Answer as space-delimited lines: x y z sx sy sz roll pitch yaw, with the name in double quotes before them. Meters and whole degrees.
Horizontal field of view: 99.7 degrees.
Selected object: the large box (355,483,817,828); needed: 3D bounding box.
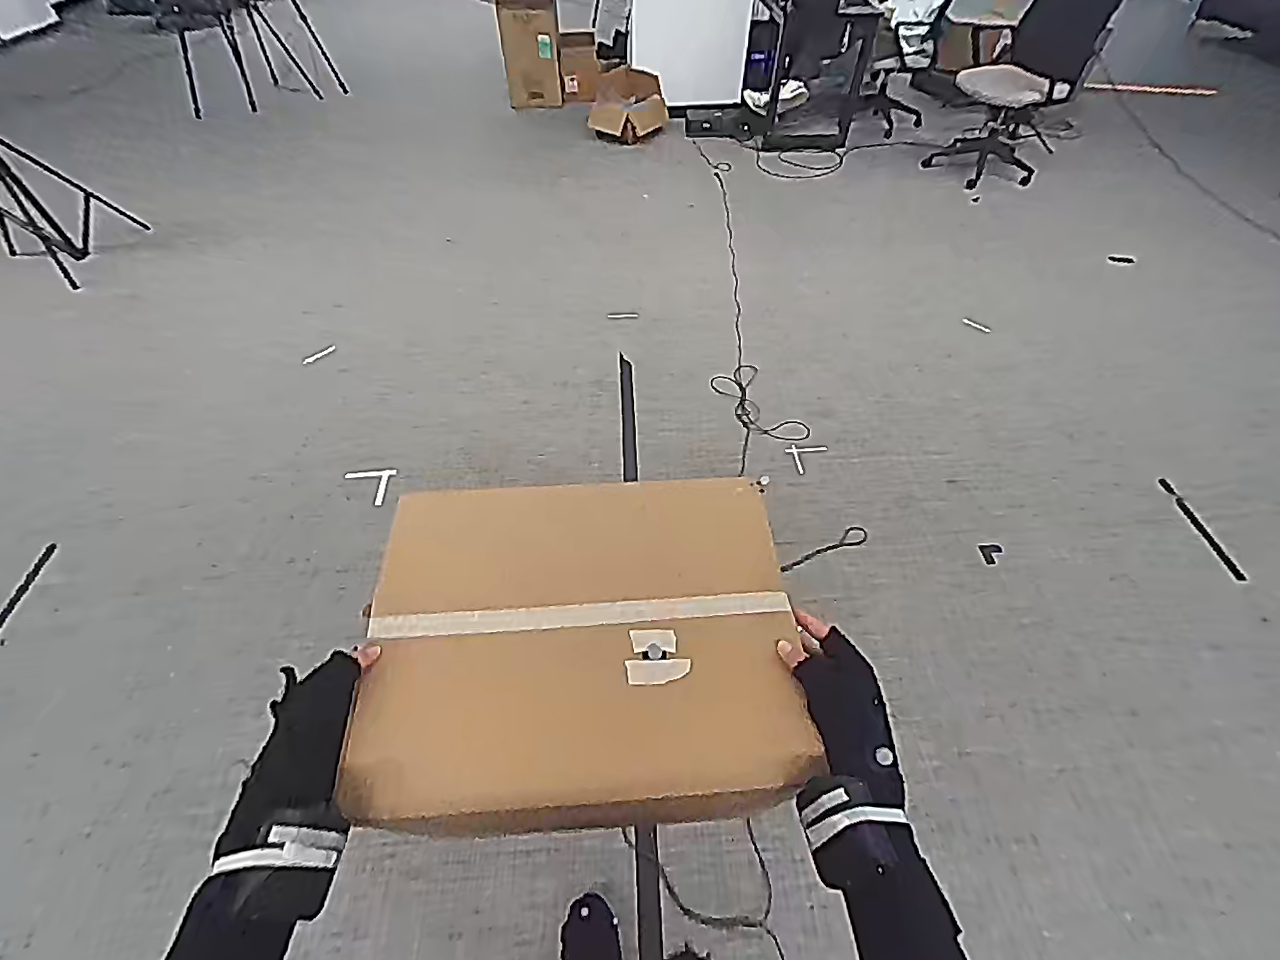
"large box" -0.056 0.222 0.664 0.408 0.320 0.320 -2 56 -3
